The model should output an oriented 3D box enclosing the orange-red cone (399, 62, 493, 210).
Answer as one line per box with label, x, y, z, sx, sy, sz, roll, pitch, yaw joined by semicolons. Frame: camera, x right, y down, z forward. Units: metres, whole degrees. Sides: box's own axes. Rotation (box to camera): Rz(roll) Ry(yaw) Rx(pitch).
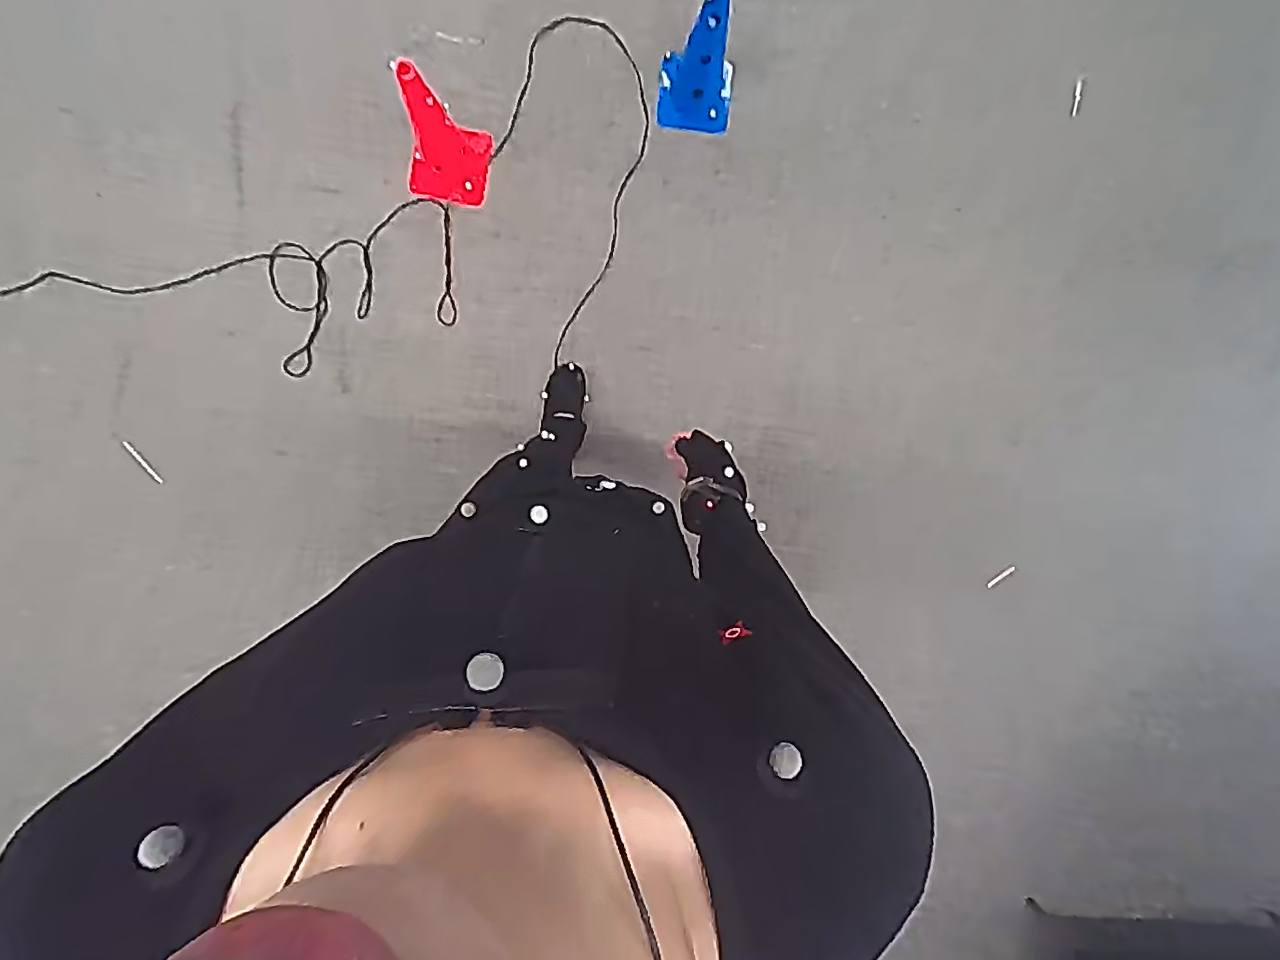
orange-red cone;-0.488;-0.833;1.268;0.198;0.360;0.199;11;89;-5
